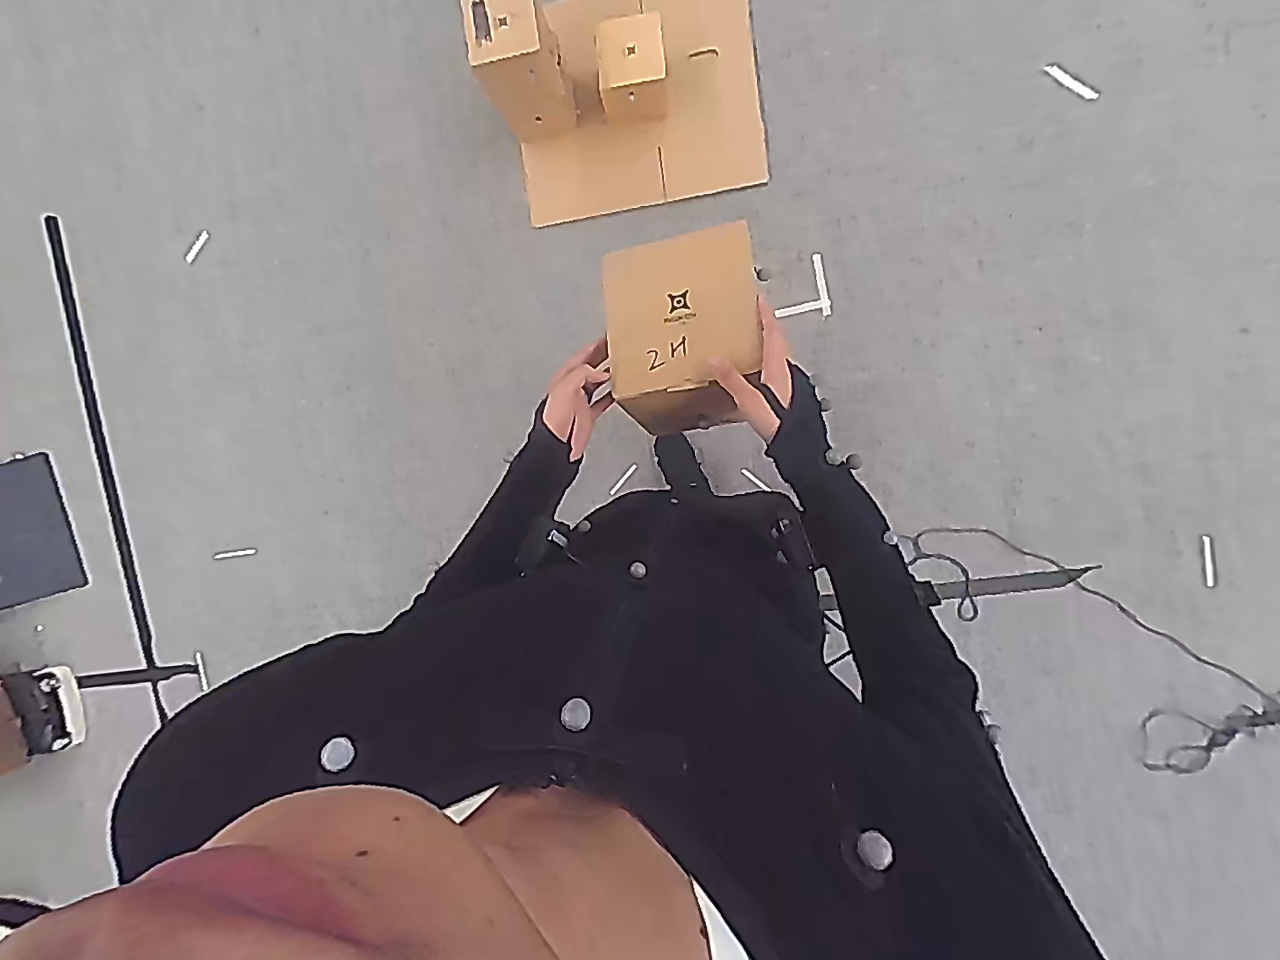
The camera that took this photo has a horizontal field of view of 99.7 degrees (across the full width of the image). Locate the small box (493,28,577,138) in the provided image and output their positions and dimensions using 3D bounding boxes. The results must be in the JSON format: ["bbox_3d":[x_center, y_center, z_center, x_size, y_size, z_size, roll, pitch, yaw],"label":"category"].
[{"bbox_3d":[-0.279,-1.082,1.487,0.179,0.176,0.168,-7,94,9],"label":"small box"}]

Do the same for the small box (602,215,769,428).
[{"bbox_3d":[0.062,-0.176,0.653,0.168,0.176,0.179,-8,79,15],"label":"small box"}]

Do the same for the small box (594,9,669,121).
[{"bbox_3d":[-0.017,-1.106,1.455,0.179,0.176,0.168,-6,95,8],"label":"small box"}]
